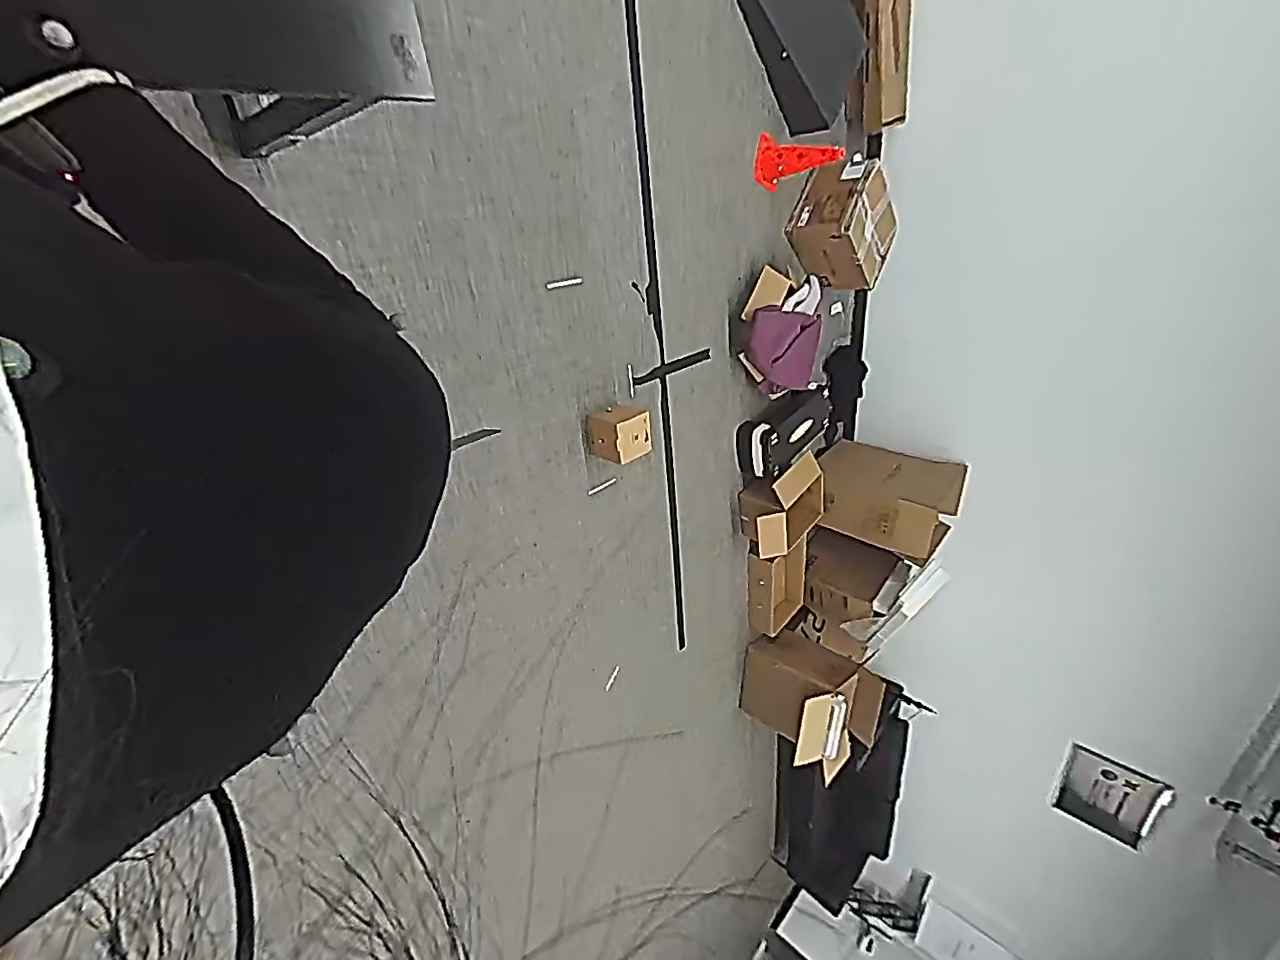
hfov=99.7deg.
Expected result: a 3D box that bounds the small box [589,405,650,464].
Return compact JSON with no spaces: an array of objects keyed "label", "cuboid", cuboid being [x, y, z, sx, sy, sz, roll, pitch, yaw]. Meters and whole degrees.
[{"label":"small box","cuboid":[-0.083,-0.181,2.090,0.179,0.176,0.168,-27,124,-39]}]
